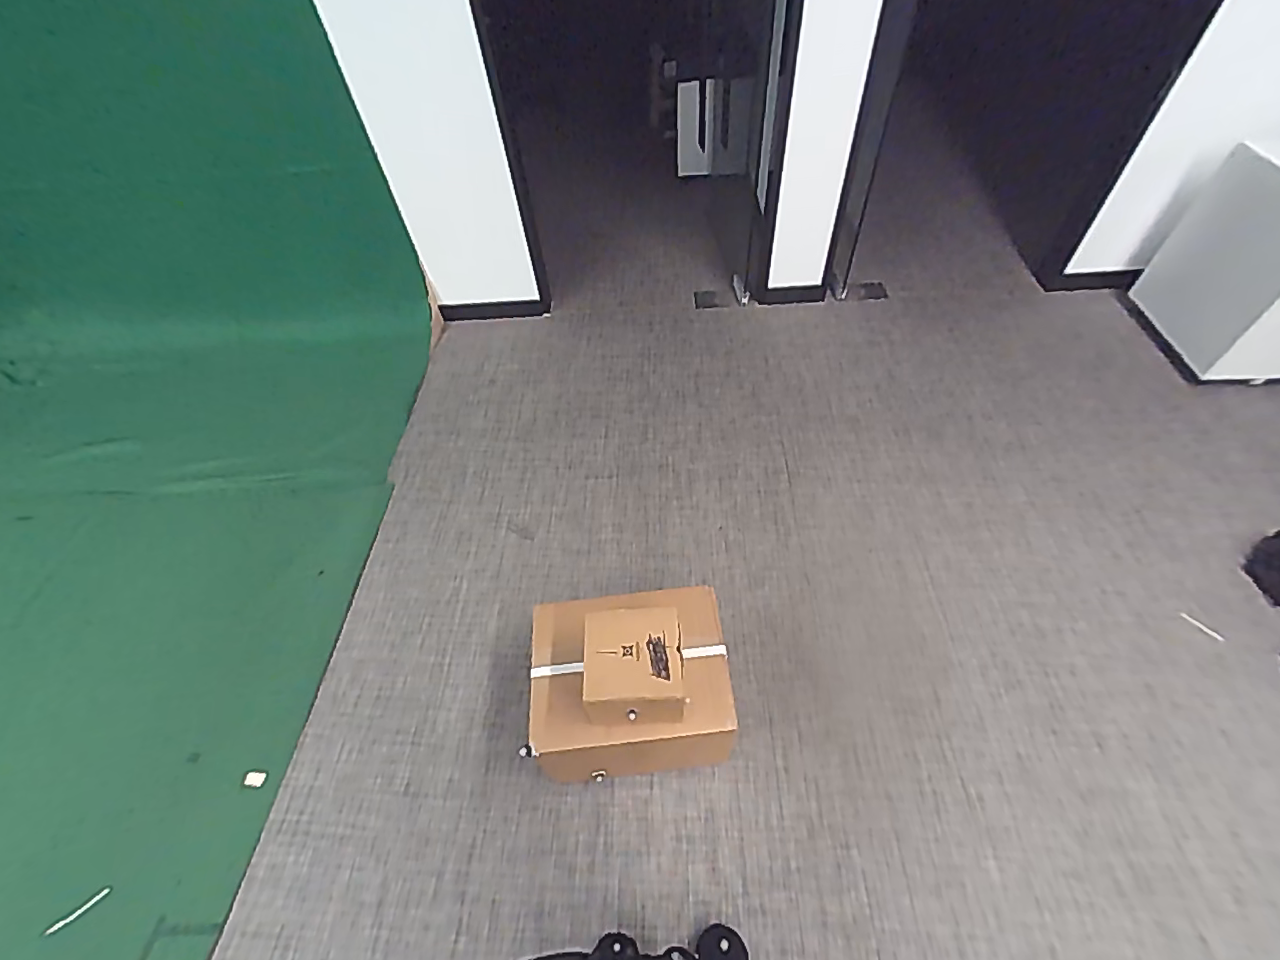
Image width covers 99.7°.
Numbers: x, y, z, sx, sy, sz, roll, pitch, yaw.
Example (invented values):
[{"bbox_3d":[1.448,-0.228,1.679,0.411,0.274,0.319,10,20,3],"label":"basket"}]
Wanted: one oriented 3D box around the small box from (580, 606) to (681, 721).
[{"bbox_3d":[-0.014,0.355,1.038,0.179,0.176,0.168,-4,52,3],"label":"small box"}]
